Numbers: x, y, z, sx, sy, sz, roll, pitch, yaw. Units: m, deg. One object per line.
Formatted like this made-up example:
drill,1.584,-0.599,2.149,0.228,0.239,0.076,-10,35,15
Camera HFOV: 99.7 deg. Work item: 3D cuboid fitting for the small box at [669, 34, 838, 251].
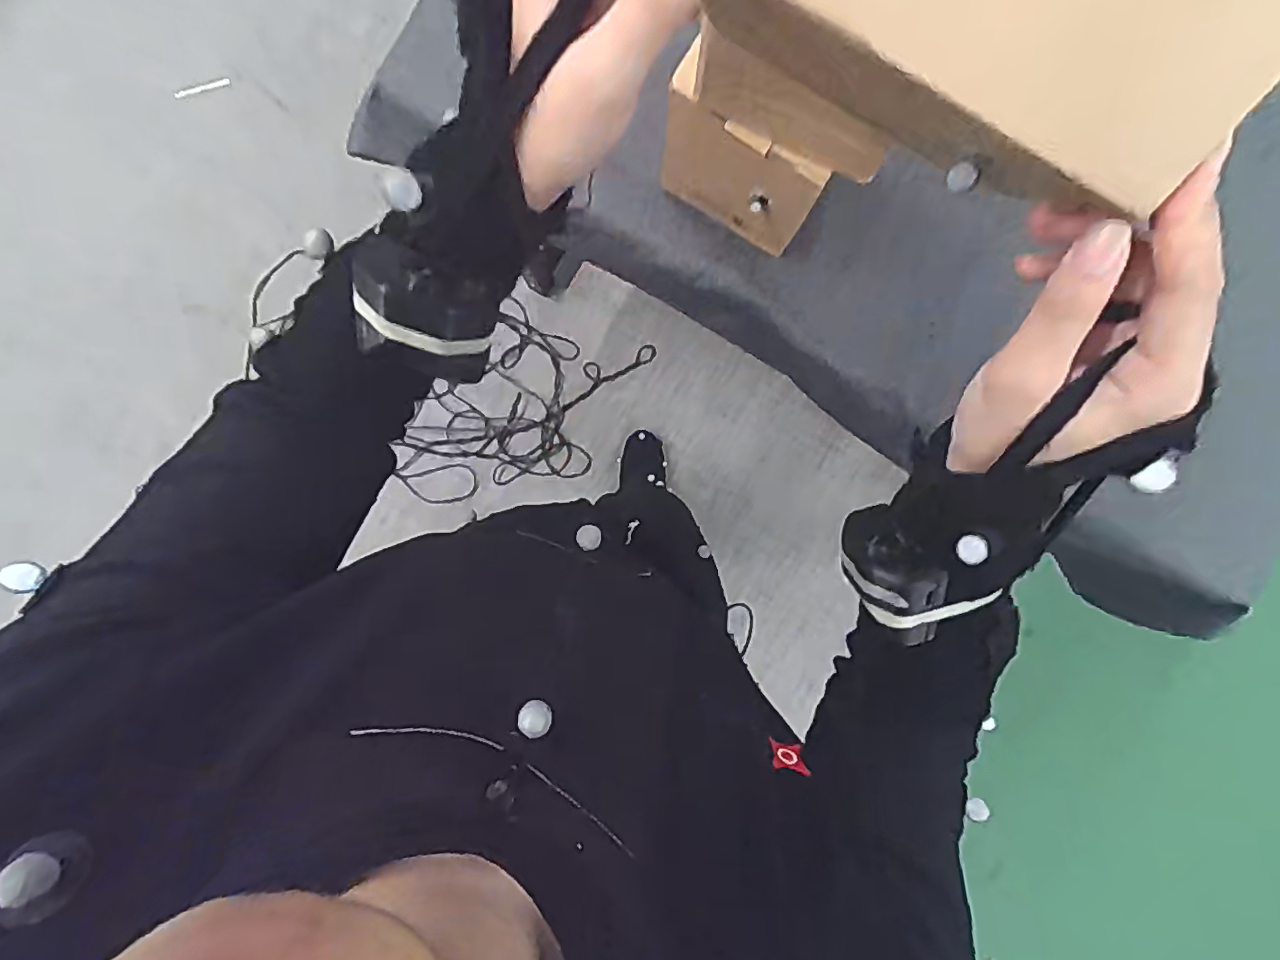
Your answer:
small box,0.140,-0.374,0.555,0.168,0.176,0.179,31,89,-2

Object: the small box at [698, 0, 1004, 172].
small box,0.156,-0.367,0.393,0.179,0.176,0.168,24,90,-2
